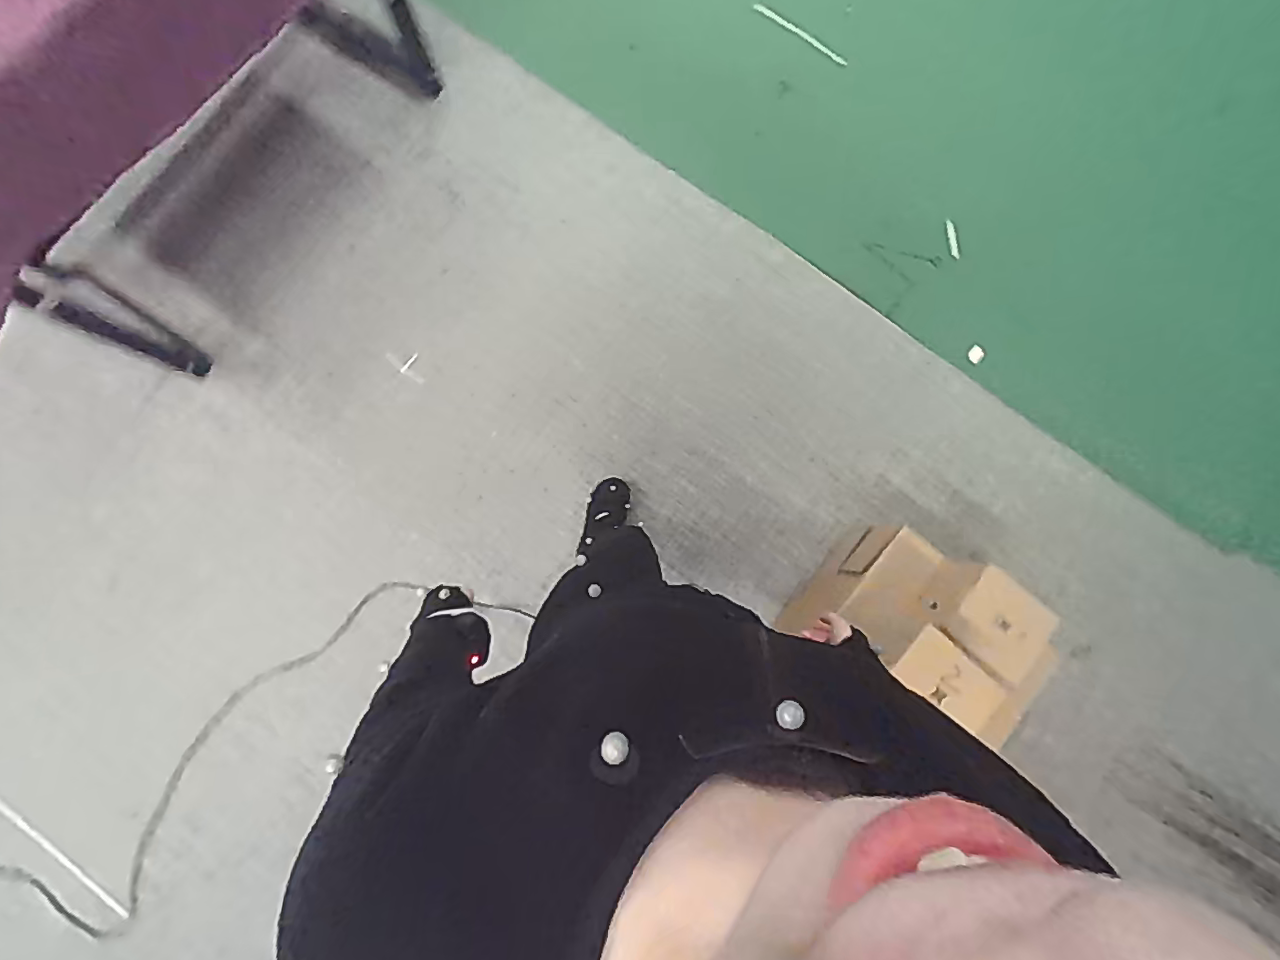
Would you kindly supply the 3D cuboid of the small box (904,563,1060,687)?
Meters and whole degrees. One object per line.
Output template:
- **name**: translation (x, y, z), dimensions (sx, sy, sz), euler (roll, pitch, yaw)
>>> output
- **small box**: translation (0.691, 0.290, 1.116), dimensions (0.179, 0.176, 0.168), euler (41, 83, 3)
